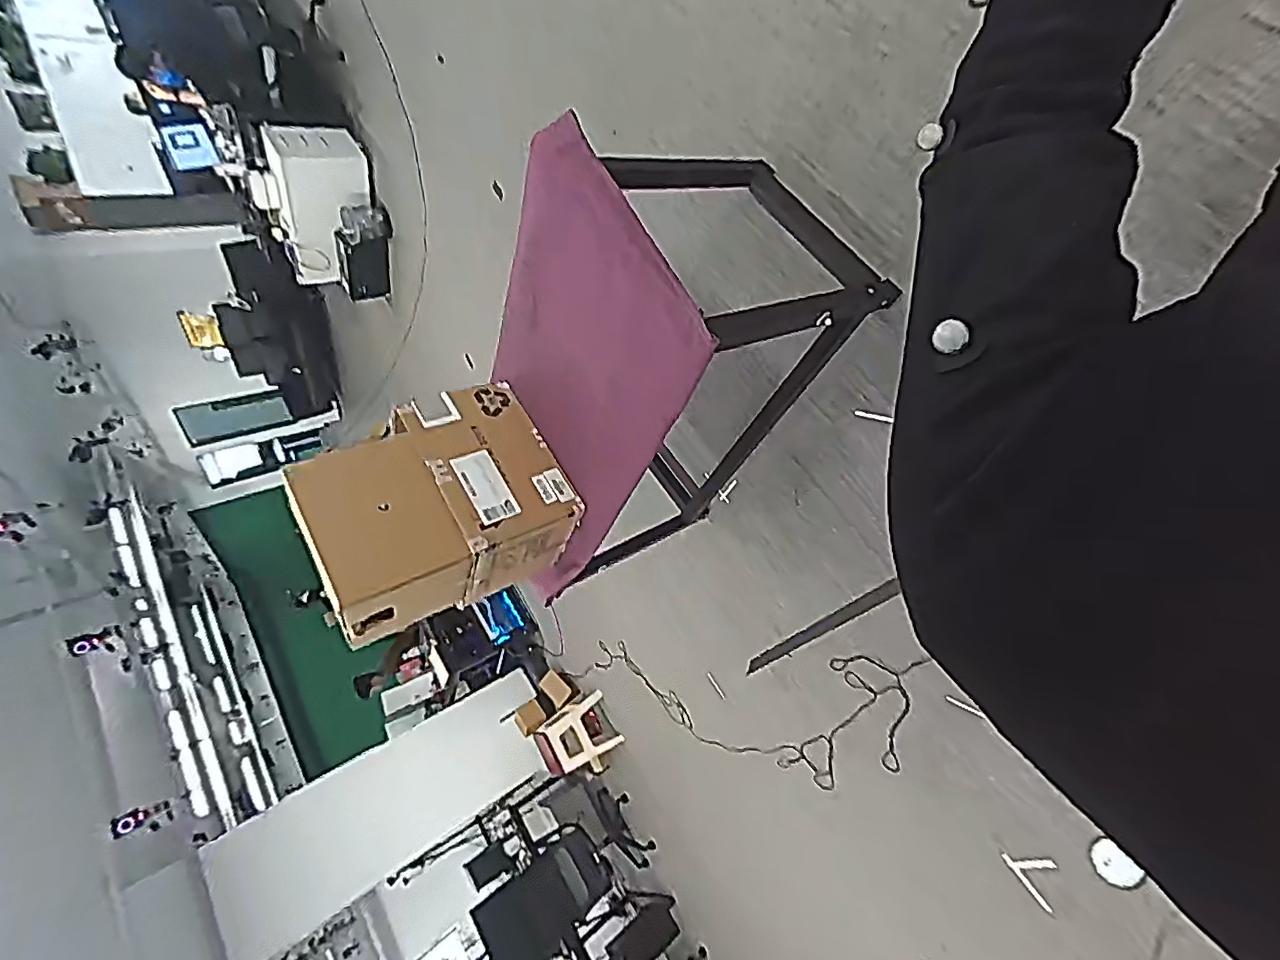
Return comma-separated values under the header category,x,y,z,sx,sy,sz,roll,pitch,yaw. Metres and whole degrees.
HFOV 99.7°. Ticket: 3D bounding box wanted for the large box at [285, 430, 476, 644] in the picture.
category,x,y,z,sx,sy,sz,roll,pitch,yaw
large box,-0.670,0.141,1.419,0.408,0.320,0.320,55,146,19
